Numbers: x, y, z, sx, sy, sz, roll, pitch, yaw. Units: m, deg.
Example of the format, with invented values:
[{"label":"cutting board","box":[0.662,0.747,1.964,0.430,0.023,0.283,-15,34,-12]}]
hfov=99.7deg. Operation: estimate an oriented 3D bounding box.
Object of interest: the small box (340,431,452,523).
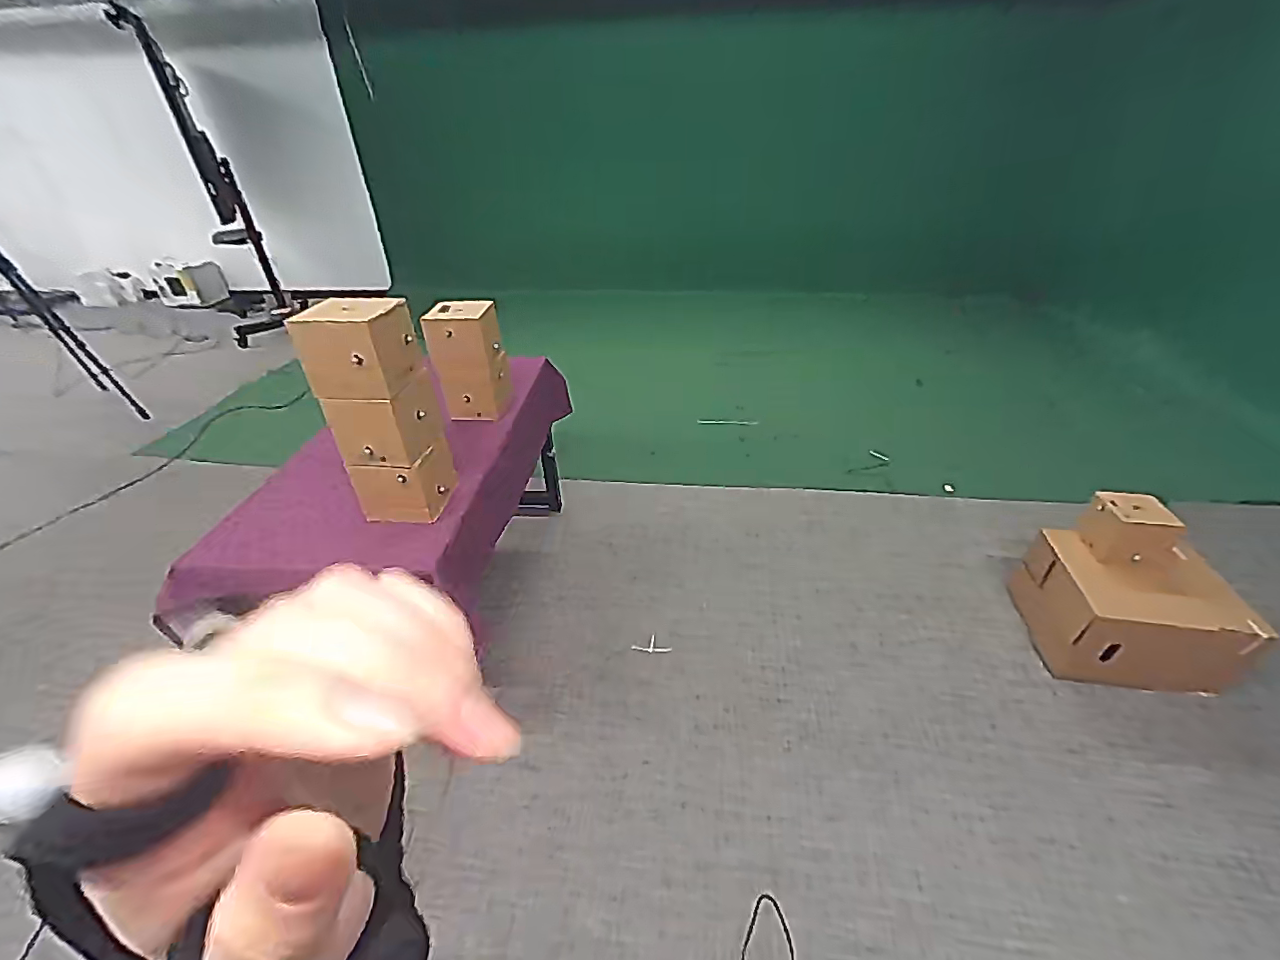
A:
[{"label":"small box","box":[-0.591,-0.008,1.332,0.179,0.176,0.168,2,35,4]}]

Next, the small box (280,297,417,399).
[{"label":"small box","box":[-0.604,-0.280,1.149,0.179,0.176,0.168,2,34,6]}]

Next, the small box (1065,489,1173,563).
[{"label":"small box","box":[1.535,0.150,1.747,0.179,0.176,0.168,6,34,7]}]

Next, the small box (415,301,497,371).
[{"label":"small box","box":[-0.558,-0.442,1.663,0.179,0.176,0.168,1,35,3]}]

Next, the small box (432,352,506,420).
[{"label":"small box","box":[-0.545,-0.307,1.757,0.168,0.176,0.179,2,35,5]}]
